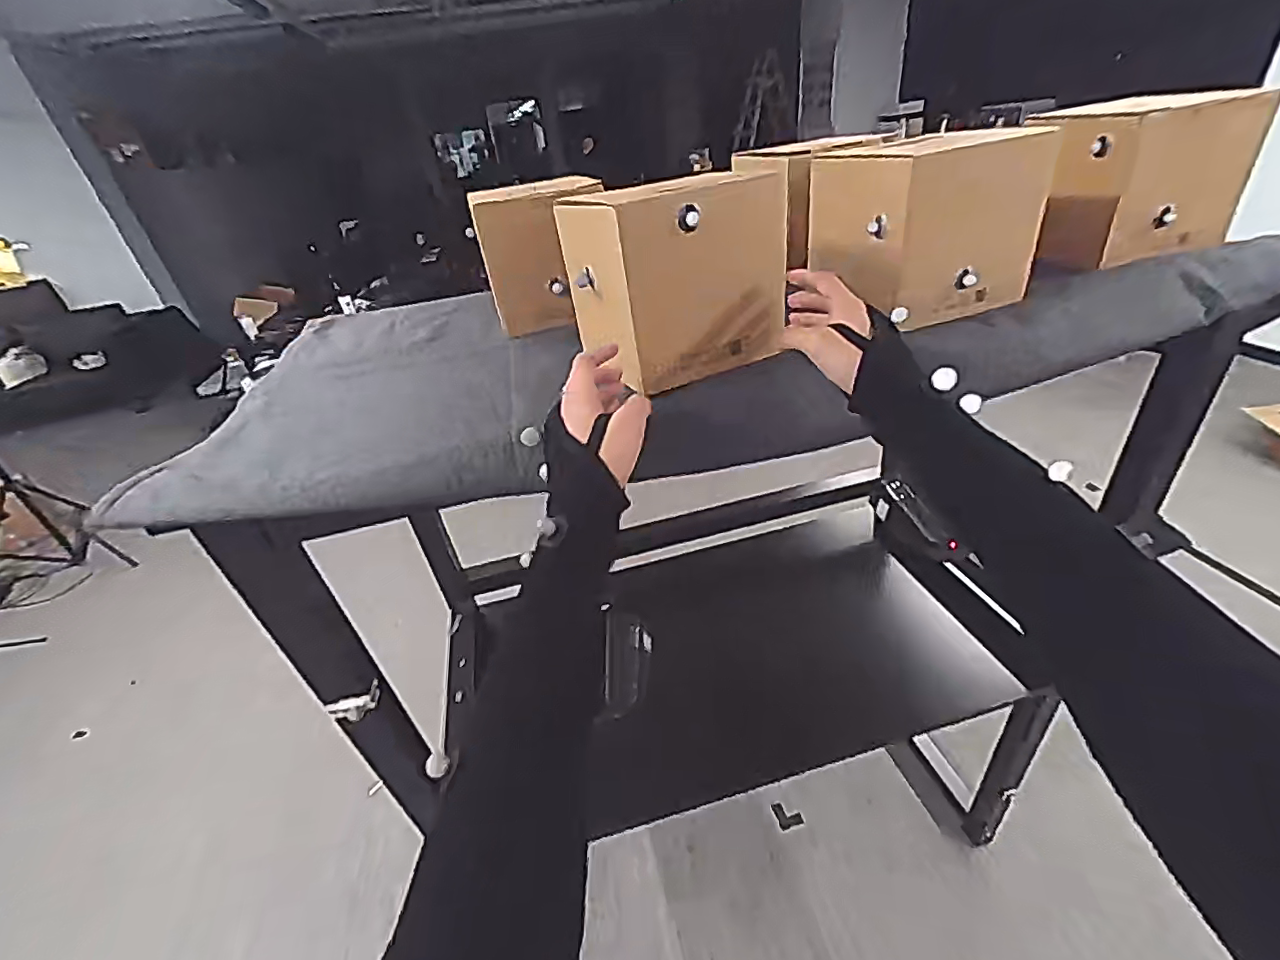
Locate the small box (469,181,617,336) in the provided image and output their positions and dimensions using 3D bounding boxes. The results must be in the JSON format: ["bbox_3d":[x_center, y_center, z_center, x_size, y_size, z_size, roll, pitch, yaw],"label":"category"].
[{"bbox_3d":[-0.140,-0.321,0.777,0.168,0.176,0.179,-16,35,-10],"label":"small box"}]

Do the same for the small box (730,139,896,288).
[{"bbox_3d":[0.245,-0.391,0.799,0.168,0.176,0.179,-15,33,-10],"label":"small box"}]

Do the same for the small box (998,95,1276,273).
[{"bbox_3d":[0.601,-0.372,0.689,0.168,0.176,0.179,-12,33,-4],"label":"small box"}]
